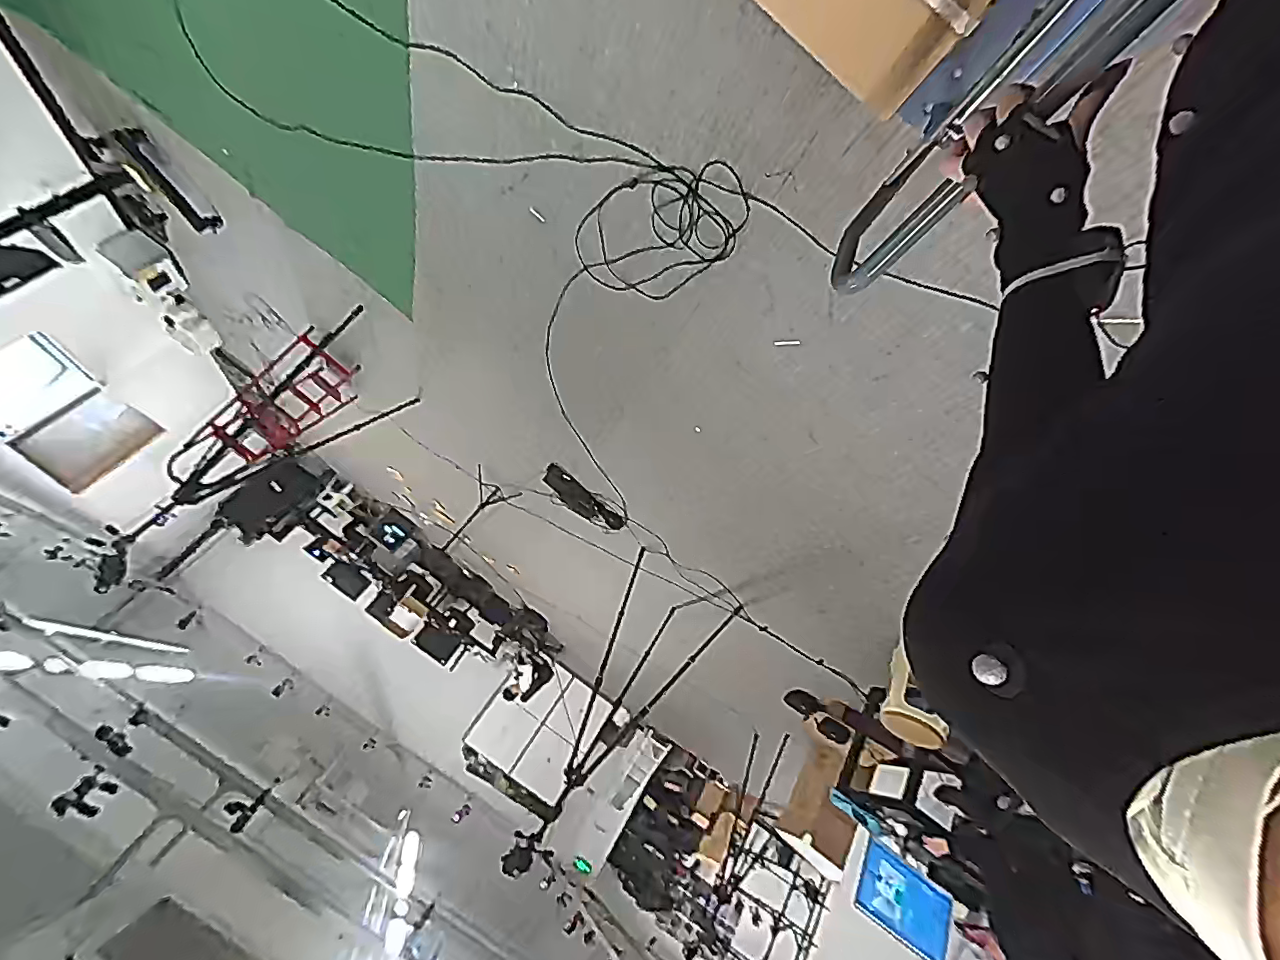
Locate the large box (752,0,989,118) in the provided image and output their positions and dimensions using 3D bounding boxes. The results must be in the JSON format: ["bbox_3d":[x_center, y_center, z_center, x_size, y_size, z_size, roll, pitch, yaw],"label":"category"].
[{"bbox_3d":[0.385,-0.869,0.813,0.408,0.320,0.320,39,151,-5],"label":"large box"}]
